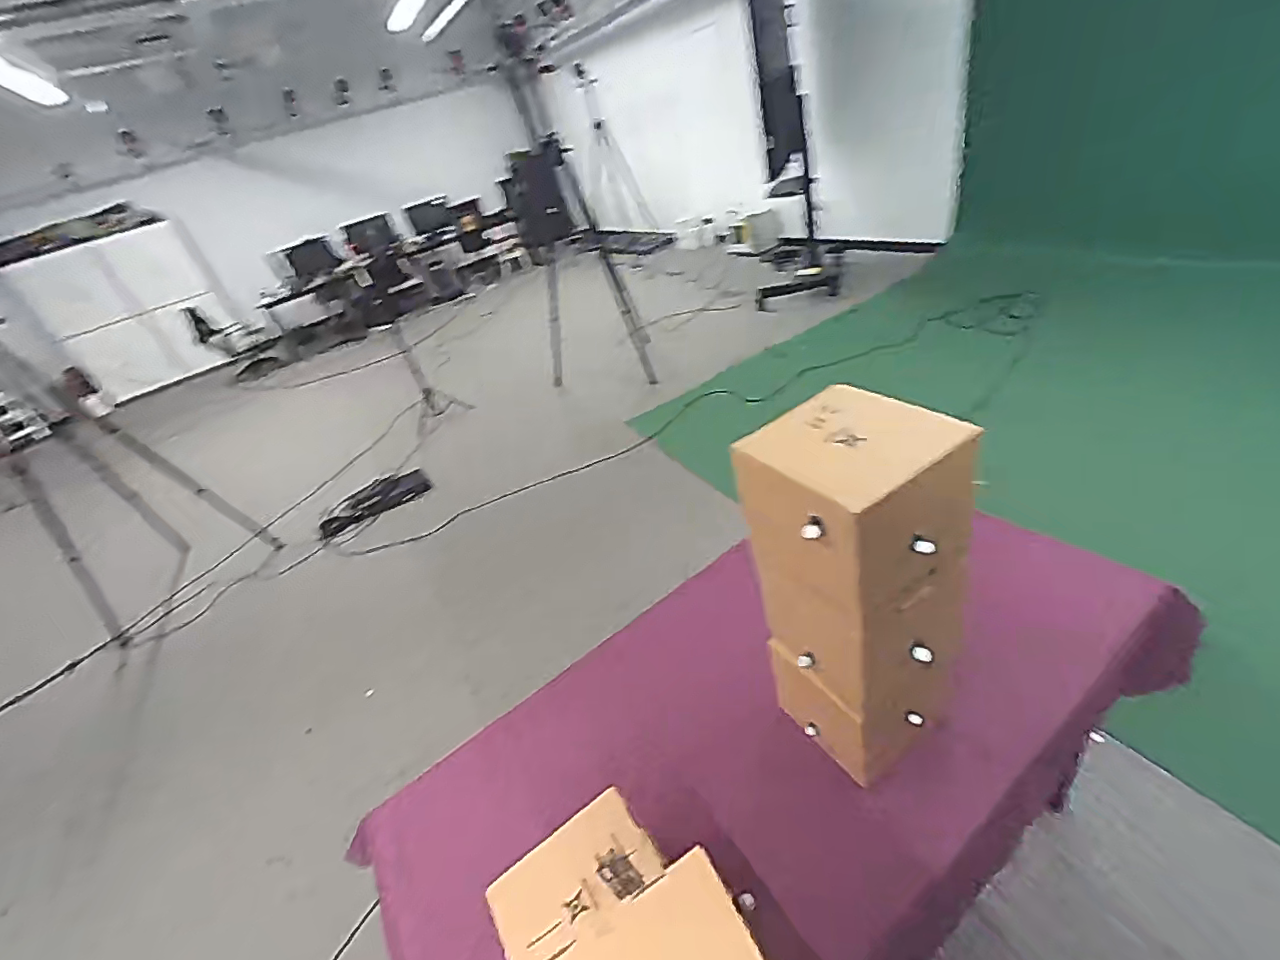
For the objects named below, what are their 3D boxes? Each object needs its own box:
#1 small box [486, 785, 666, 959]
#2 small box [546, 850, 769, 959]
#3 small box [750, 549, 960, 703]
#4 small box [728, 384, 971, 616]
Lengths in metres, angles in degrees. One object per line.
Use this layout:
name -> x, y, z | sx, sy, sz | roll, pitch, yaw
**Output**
small box -> -0.042, 0.506, 0.617 | 0.179, 0.176, 0.168 | -32, 36, -19
small box -> 0.036, 0.411, 0.369 | 0.168, 0.176, 0.179 | -30, 38, -12
small box -> 0.268, 0.152, 0.688 | 0.168, 0.176, 0.179 | -28, 36, -16
small box -> 0.225, 0.022, 0.594 | 0.168, 0.176, 0.179 | -29, 35, -17
